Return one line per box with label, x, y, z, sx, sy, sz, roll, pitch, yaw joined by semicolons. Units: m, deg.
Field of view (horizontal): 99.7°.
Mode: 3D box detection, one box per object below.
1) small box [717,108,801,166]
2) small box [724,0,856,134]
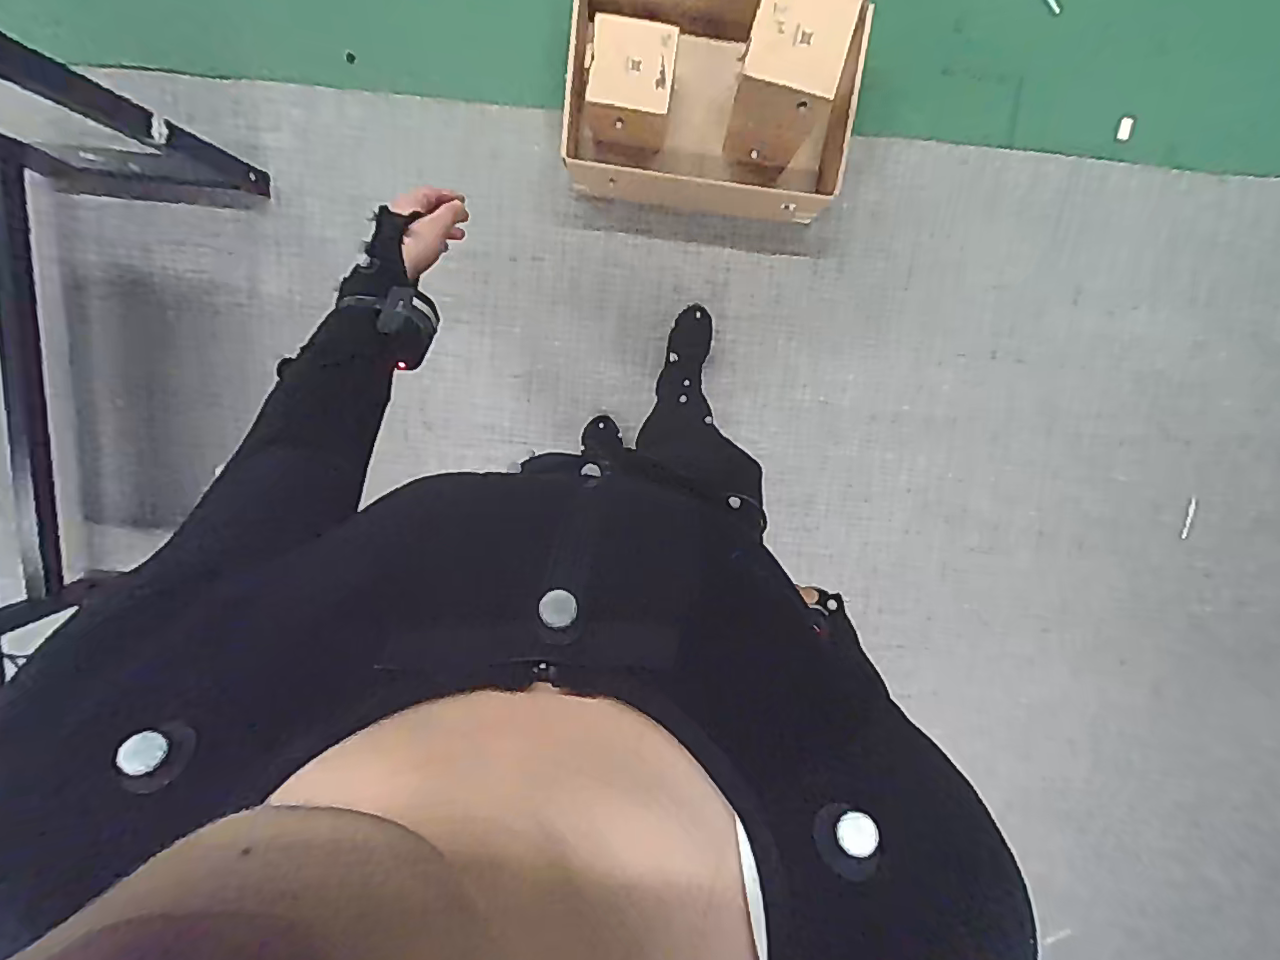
small box;0.274;-0.832;1.192;0.168;0.176;0.179;14;102;-2
small box;0.274;-0.795;1.032;0.179;0.176;0.168;14;101;-3
